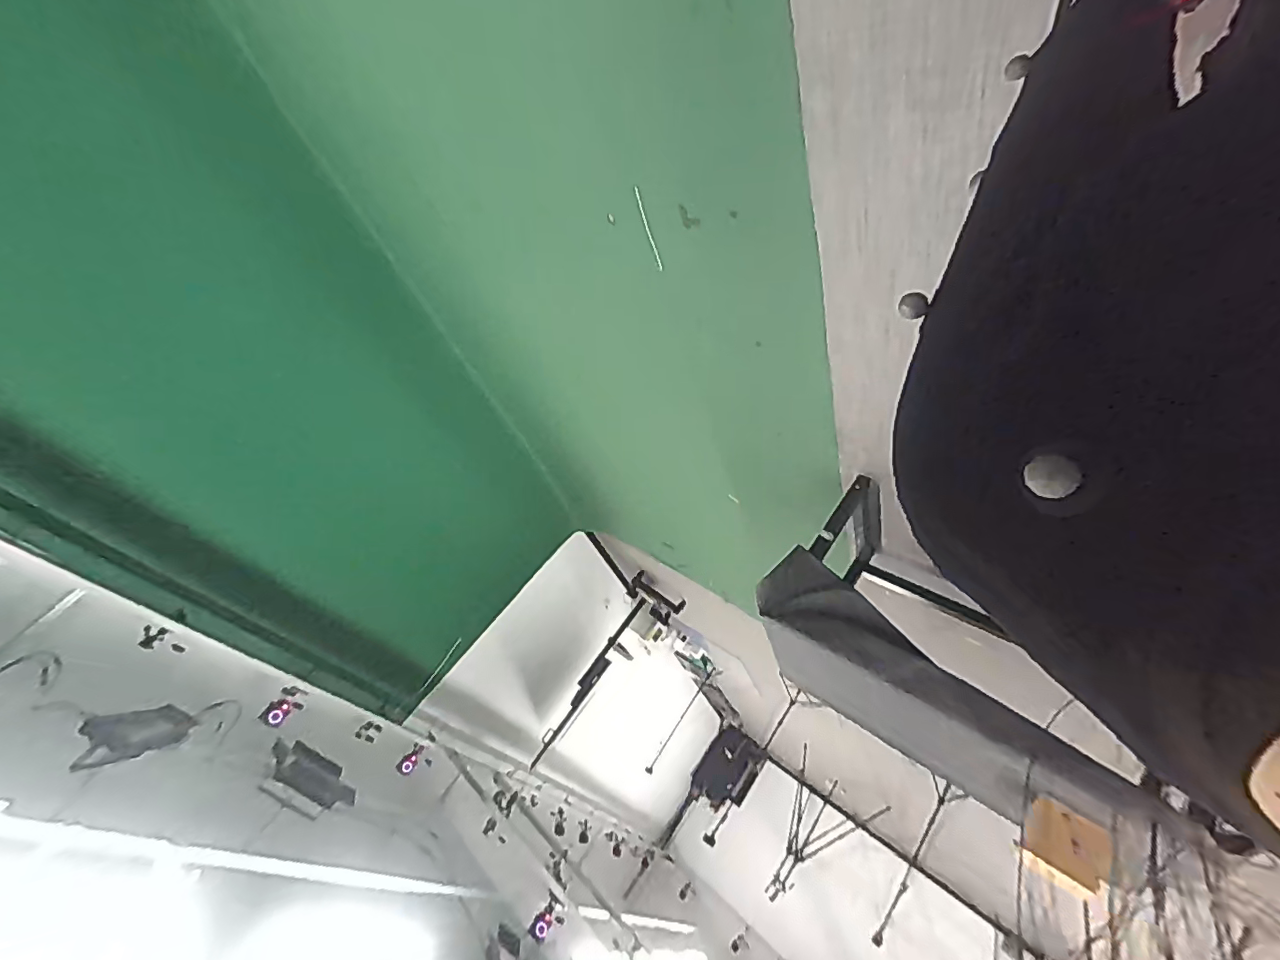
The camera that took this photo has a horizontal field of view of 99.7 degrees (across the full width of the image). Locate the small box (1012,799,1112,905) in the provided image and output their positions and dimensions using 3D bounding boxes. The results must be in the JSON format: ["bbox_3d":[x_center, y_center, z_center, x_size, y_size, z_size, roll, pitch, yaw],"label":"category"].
[{"bbox_3d":[1.150,1.008,1.475,0.168,0.176,0.179,23,154,40],"label":"small box"}]
